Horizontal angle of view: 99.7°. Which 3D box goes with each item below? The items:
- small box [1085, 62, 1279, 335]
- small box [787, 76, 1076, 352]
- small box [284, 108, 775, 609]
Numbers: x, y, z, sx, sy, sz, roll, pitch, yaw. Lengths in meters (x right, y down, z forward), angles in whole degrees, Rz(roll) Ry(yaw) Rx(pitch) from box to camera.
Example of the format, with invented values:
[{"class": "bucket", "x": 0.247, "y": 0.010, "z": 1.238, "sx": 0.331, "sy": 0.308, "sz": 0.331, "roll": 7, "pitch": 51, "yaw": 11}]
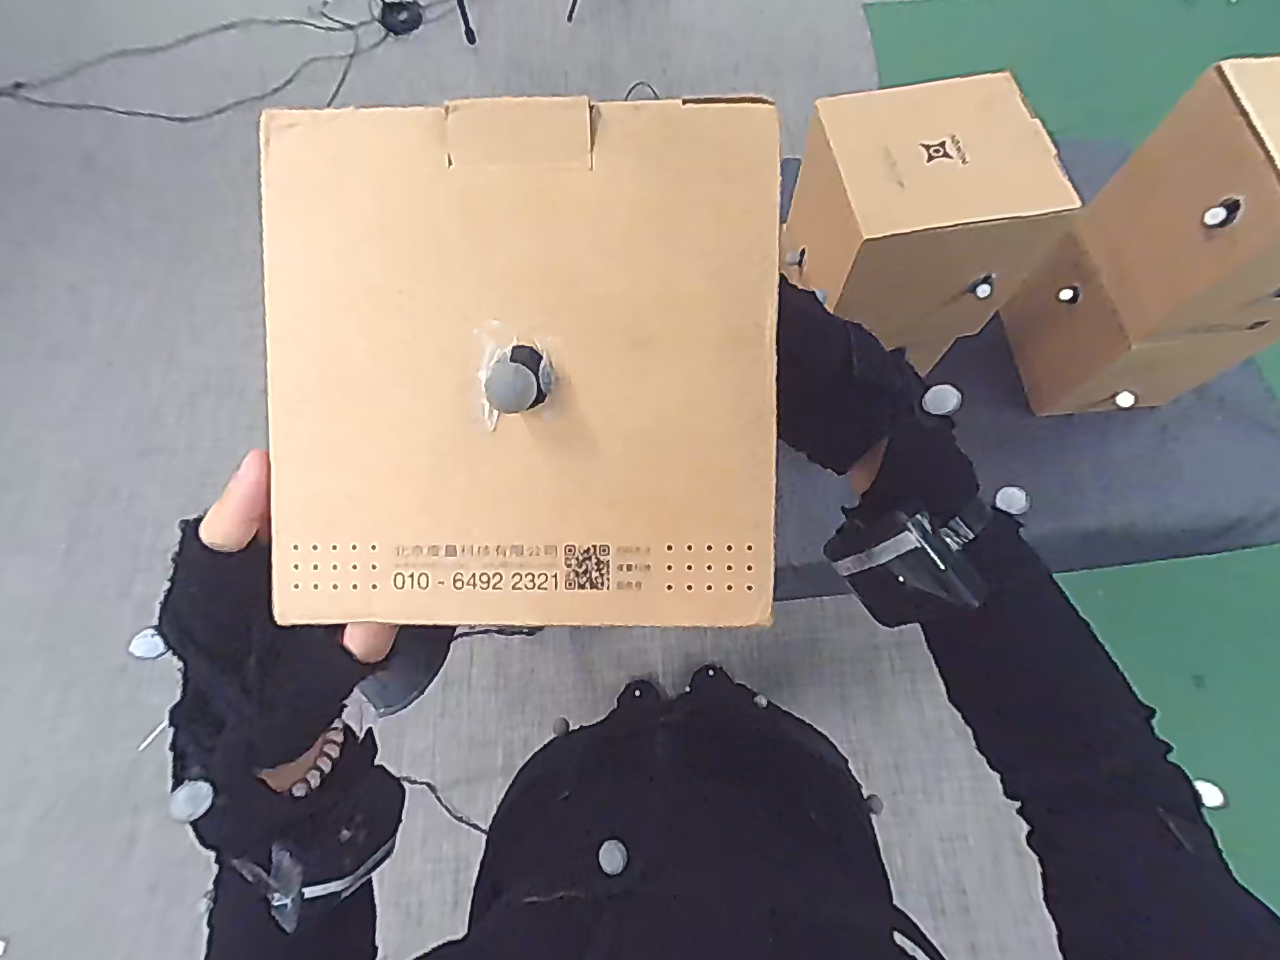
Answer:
[{"class": "small box", "x": 0.580, "y": -0.252, "z": 0.510, "sx": 0.168, "sy": 0.176, "sz": 0.179, "roll": -3, "pitch": 70, "yaw": 3}, {"class": "small box", "x": 0.260, "y": -0.248, "z": 0.534, "sx": 0.179, "sy": 0.176, "sz": 0.168, "roll": -7, "pitch": 69, "yaw": 2}, {"class": "small box", "x": -0.033, "y": -0.041, "z": 0.263, "sx": 0.168, "sy": 0.179, "sz": 0.176, "roll": 1, "pitch": 93, "yaw": 1}]
